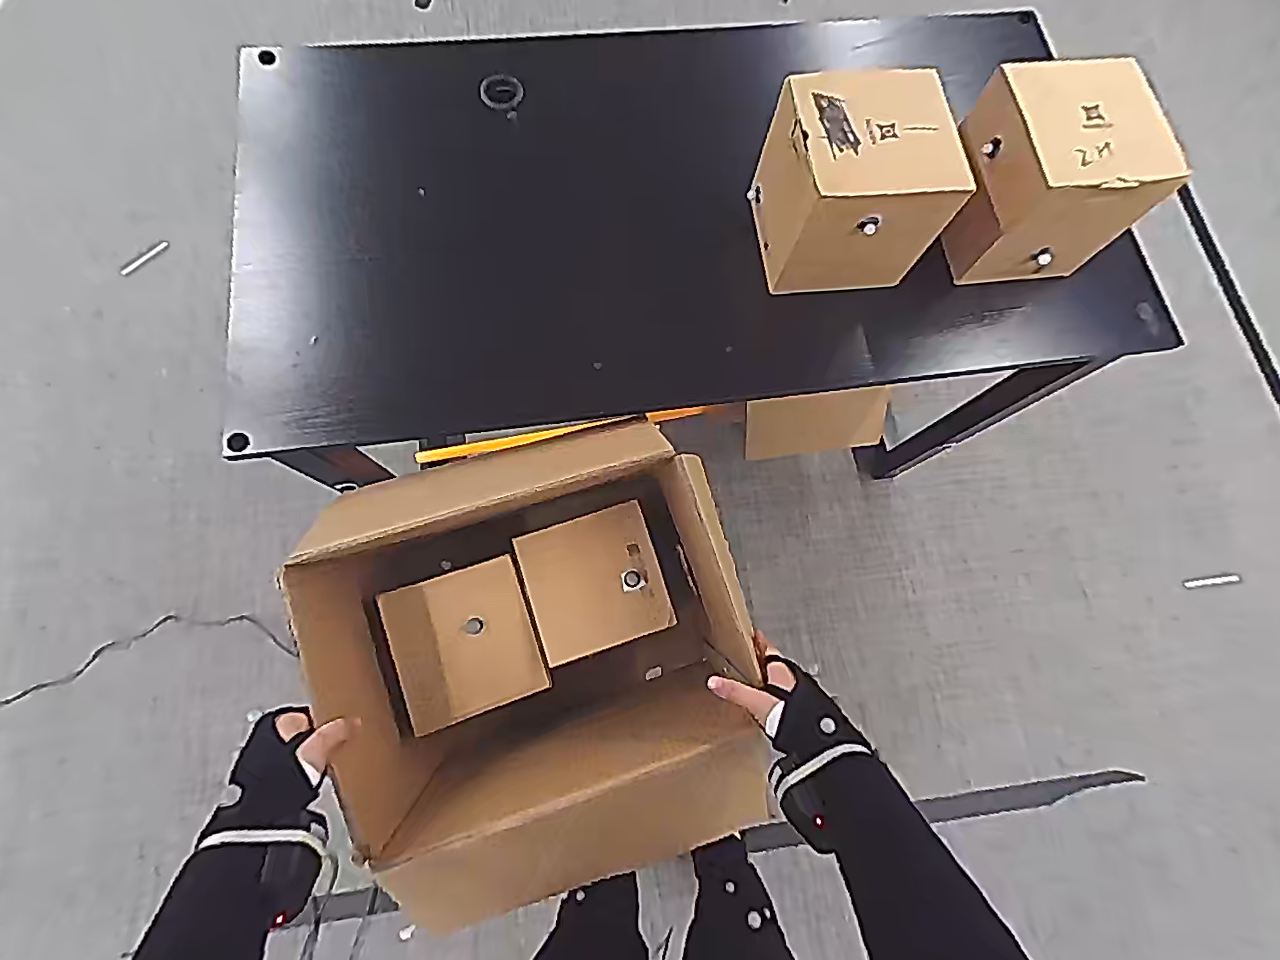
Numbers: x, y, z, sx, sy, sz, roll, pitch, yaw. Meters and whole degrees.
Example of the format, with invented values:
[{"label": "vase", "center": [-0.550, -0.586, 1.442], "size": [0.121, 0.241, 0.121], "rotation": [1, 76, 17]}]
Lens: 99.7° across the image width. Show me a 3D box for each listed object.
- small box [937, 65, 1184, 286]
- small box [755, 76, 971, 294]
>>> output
[{"label": "small box", "center": [0.490, -0.369, 0.673], "size": [0.168, 0.176, 0.179], "rotation": [-6, 75, -4]}, {"label": "small box", "center": [0.247, -0.343, 0.654], "size": [0.179, 0.176, 0.168], "rotation": [-5, 75, -6]}]
